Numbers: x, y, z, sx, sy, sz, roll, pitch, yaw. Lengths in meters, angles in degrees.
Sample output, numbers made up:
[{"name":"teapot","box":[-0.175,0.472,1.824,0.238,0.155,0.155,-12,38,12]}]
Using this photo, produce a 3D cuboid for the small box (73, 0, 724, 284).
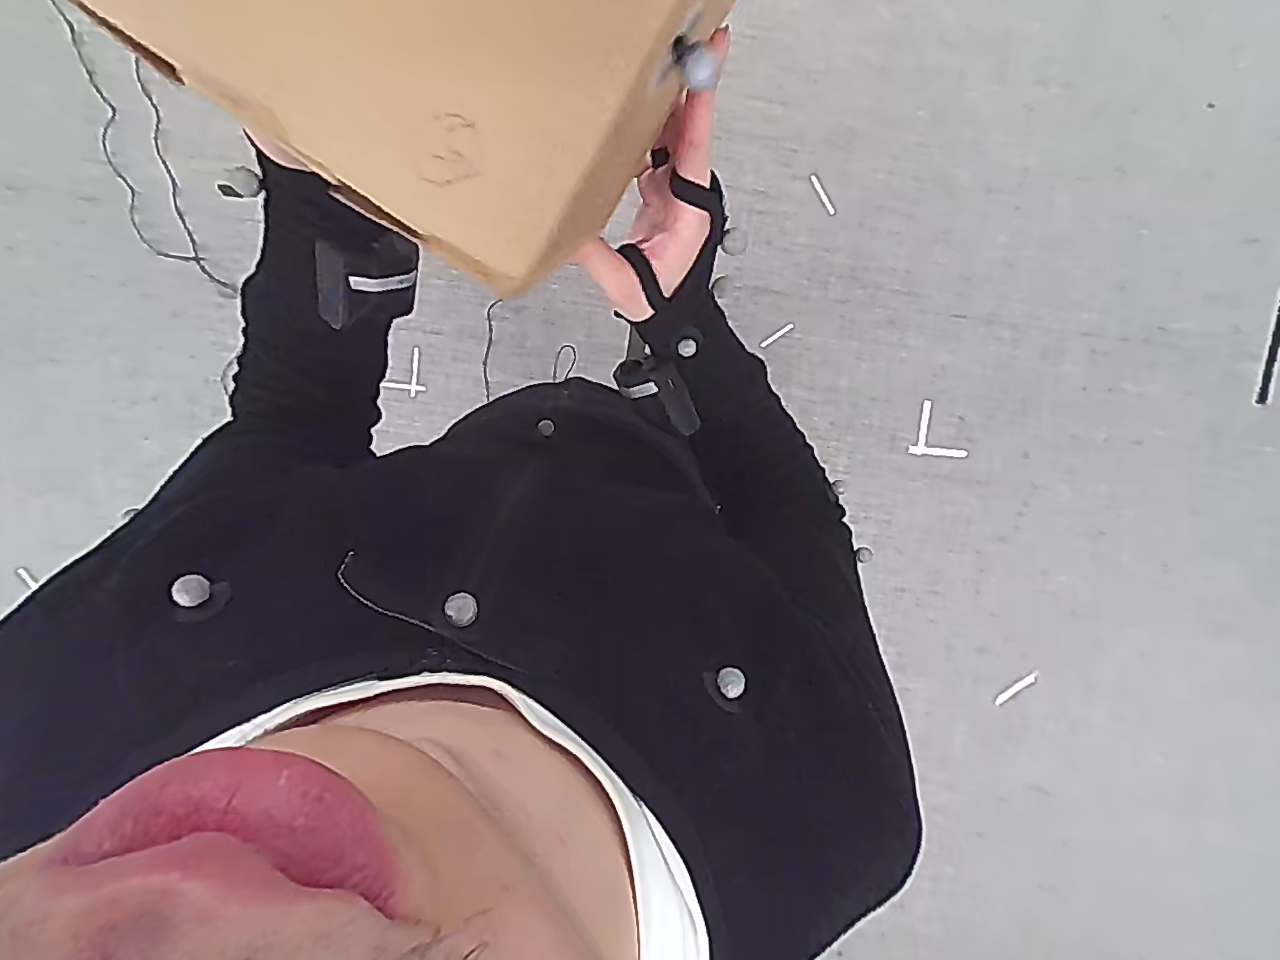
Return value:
[{"name":"small box","box":[-0.051,-0.205,0.187,0.168,0.176,0.179,29,121,-13]}]
